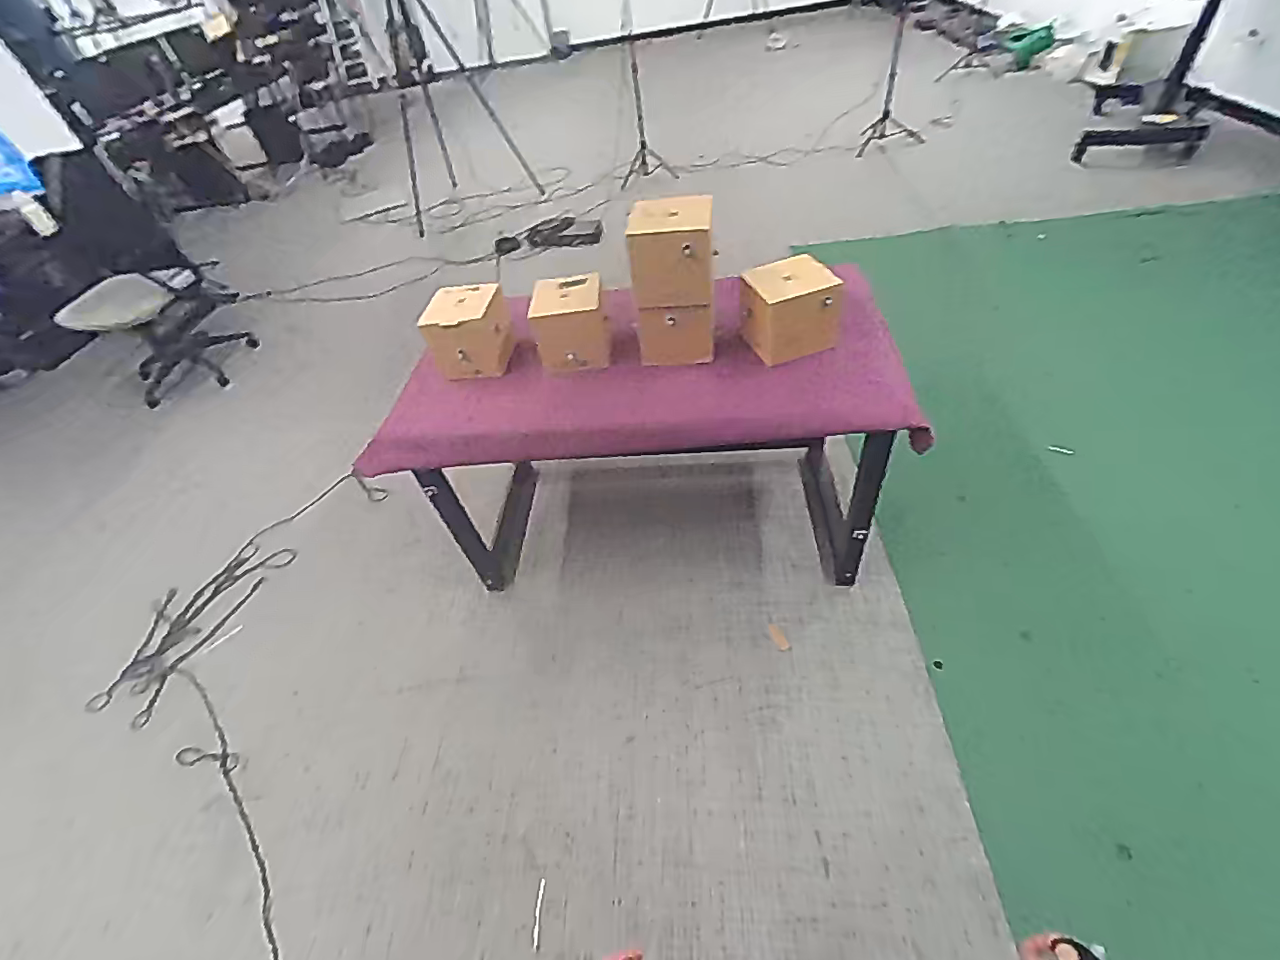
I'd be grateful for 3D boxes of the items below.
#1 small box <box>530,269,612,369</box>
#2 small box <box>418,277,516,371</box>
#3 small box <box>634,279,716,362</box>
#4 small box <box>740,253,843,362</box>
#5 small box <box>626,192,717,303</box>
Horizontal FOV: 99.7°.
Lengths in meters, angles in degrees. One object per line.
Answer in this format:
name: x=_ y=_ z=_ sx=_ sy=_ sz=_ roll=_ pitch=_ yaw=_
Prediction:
small box: x=-0.164 y=-0.400 z=1.347 sx=0.168 sy=0.176 sz=0.179 roll=-5 pitch=48 yaw=5
small box: x=-0.431 y=-0.393 z=1.383 sx=0.168 sy=0.176 sz=0.179 roll=0 pitch=49 yaw=8
small box: x=0.092 y=-0.400 z=1.308 sx=0.179 sy=0.176 sz=0.168 roll=1 pitch=49 yaw=10
small box: x=0.348 y=-0.399 z=1.266 sx=0.179 sy=0.176 sz=0.168 roll=-17 pitch=47 yaw=-6
small box: x=0.077 y=-0.504 z=1.181 sx=0.179 sy=0.176 sz=0.168 roll=1 pitch=48 yaw=10
